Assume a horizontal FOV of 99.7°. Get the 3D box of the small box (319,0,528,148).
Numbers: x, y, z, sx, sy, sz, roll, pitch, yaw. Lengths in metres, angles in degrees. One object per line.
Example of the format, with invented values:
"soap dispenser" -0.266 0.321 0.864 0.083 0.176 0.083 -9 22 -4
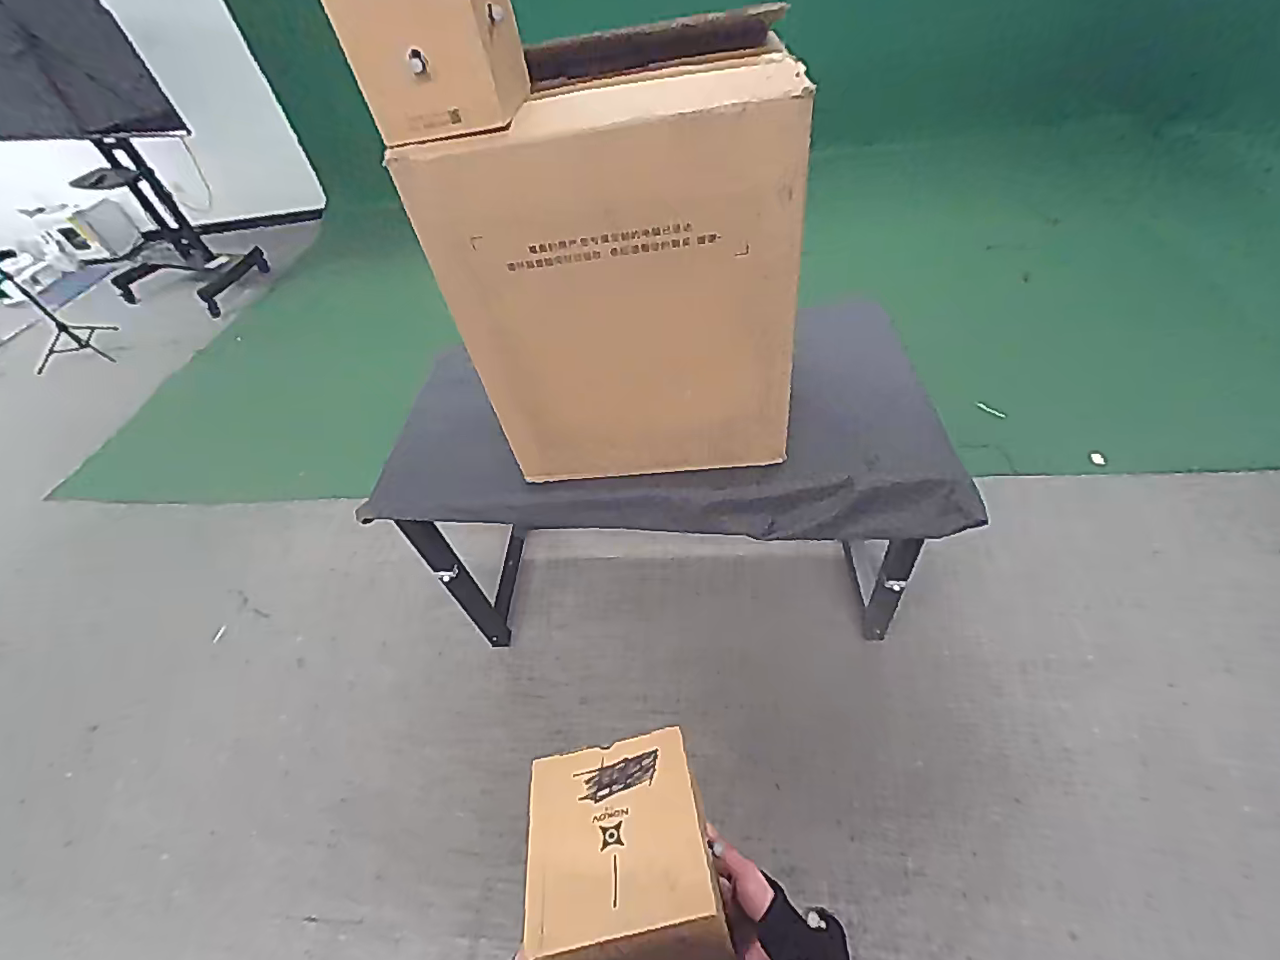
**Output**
"small box" -0.253 -0.540 0.684 0.168 0.176 0.179 -4 48 8
